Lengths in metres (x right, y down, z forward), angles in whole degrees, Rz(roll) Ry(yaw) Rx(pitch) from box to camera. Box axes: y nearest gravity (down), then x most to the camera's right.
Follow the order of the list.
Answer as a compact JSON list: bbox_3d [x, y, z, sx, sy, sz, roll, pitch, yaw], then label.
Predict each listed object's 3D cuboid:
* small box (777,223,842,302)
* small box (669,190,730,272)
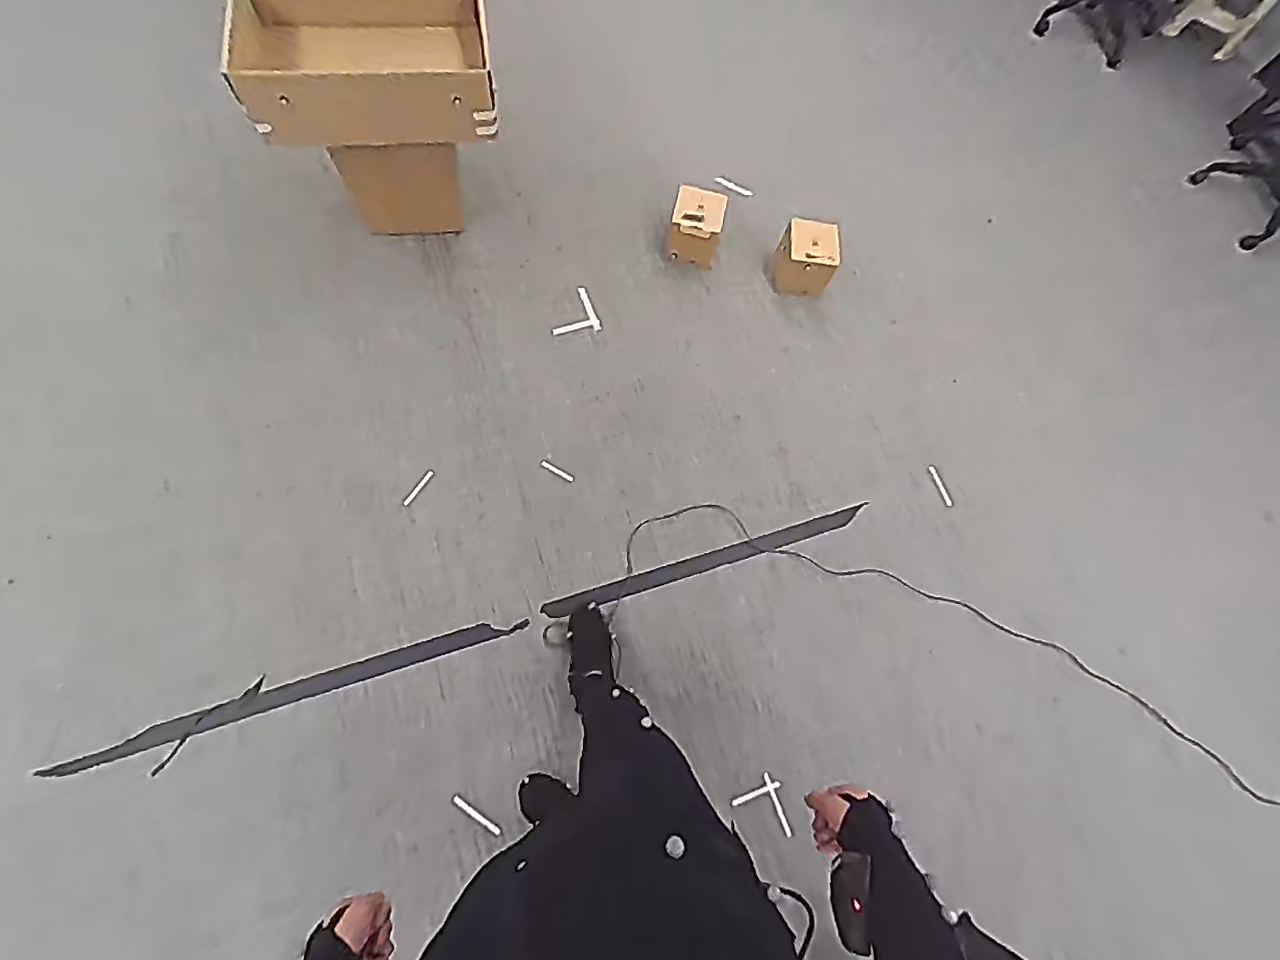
[{"bbox_3d":[0.582,-0.751,1.875,0.168,0.176,0.179,7,69,-3],"label":"small box"},{"bbox_3d":[0.200,-0.854,1.871,0.168,0.176,0.179,14,70,-1],"label":"small box"}]
